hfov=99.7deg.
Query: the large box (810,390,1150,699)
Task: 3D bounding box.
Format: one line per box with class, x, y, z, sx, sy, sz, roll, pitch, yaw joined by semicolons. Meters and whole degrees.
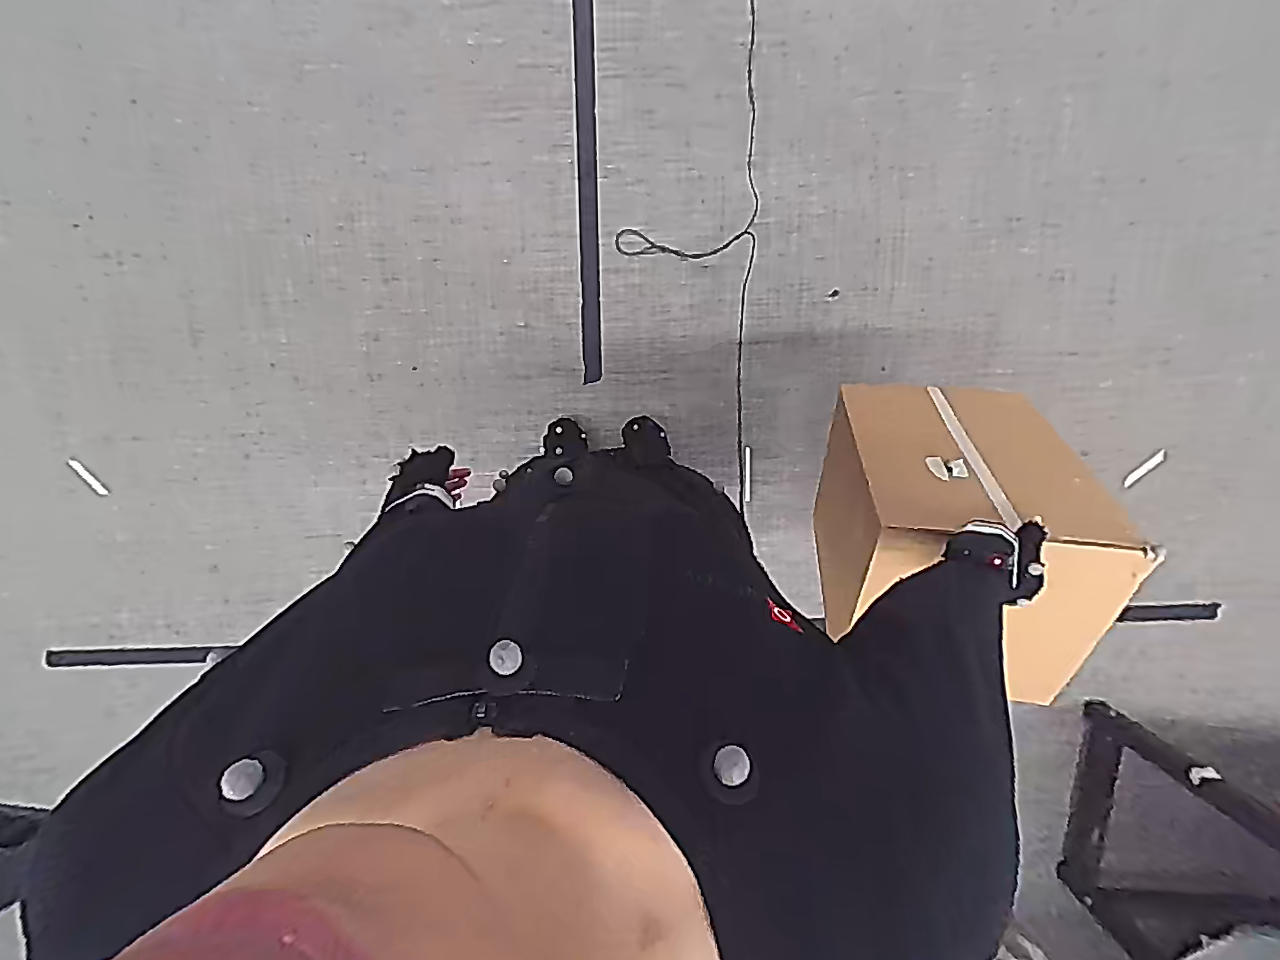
large box;0.489;0.086;0.909;0.320;0.408;0.320;5;127;8
